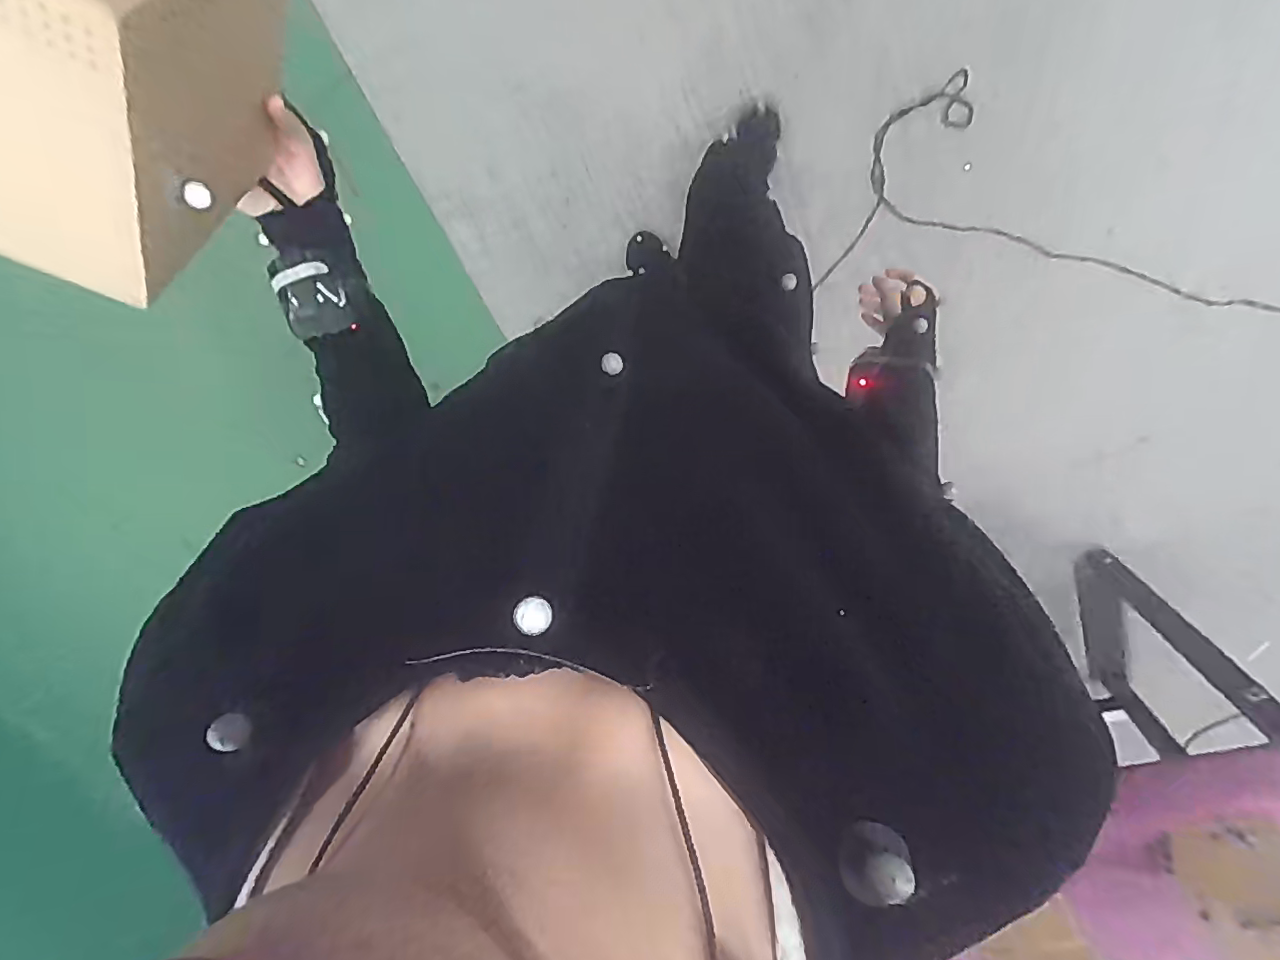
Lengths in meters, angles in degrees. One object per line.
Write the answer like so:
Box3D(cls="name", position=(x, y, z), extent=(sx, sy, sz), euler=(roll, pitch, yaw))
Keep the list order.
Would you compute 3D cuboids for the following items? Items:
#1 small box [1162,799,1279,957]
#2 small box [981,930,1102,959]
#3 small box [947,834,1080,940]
Box3D(cls="small box", position=(1.097, 0.712, 0.972), extent=(0.168, 0.176, 0.179), euler=(-21, 114, 17))
Box3D(cls="small box", position=(0.730, 0.915, 0.938), extent=(0.179, 0.176, 0.168), euler=(-18, 117, 16))
Box3D(cls="small box", position=(0.744, 0.836, 1.081), extent=(0.168, 0.176, 0.179), euler=(-22, 116, 17))
